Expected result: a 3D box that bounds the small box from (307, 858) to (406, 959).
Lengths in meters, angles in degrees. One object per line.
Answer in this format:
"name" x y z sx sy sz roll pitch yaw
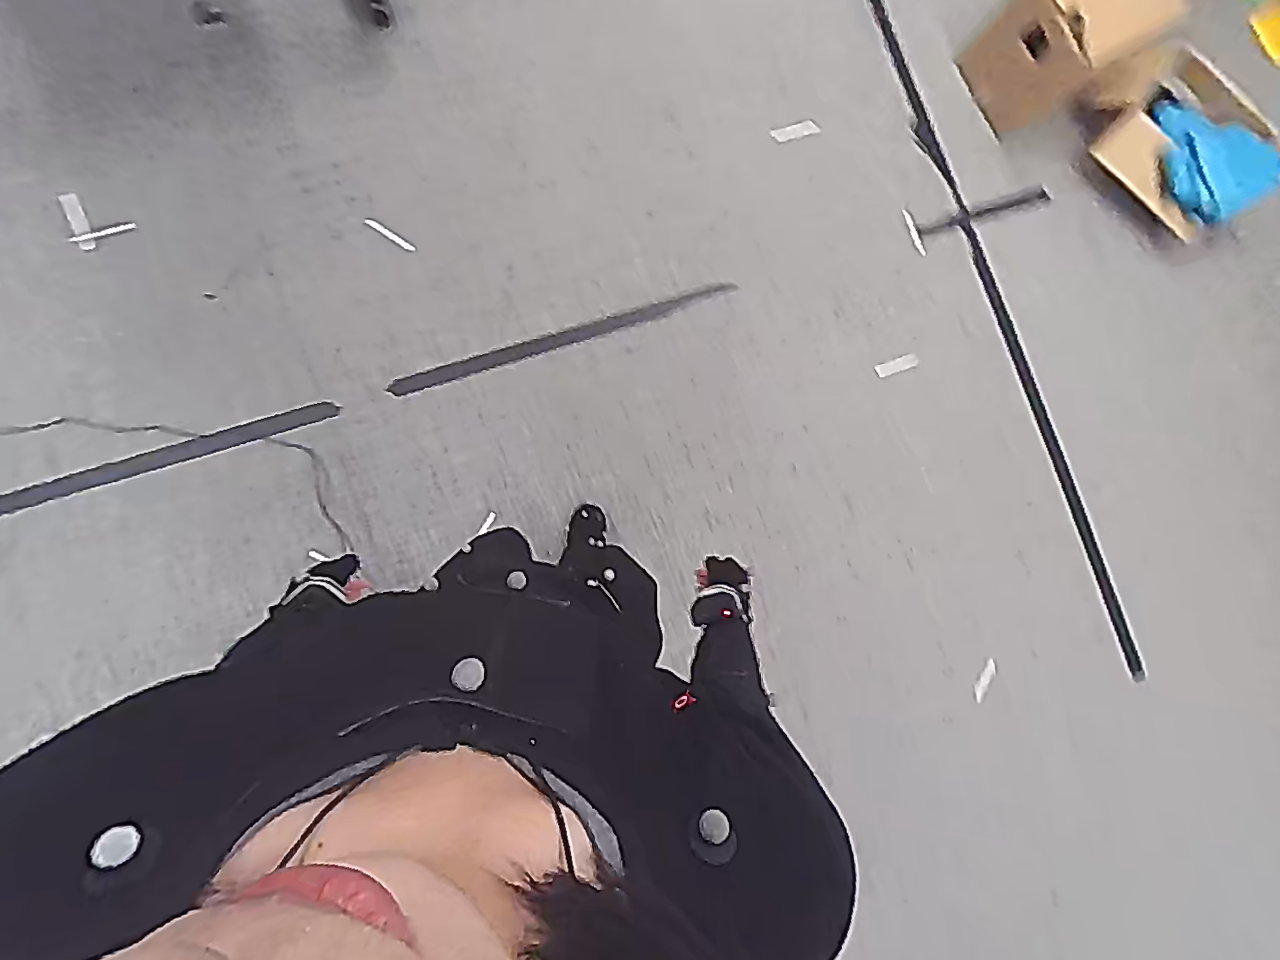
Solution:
"small box" -0.669 1.054 1.292 0.168 0.176 0.179 -4 87 -9
